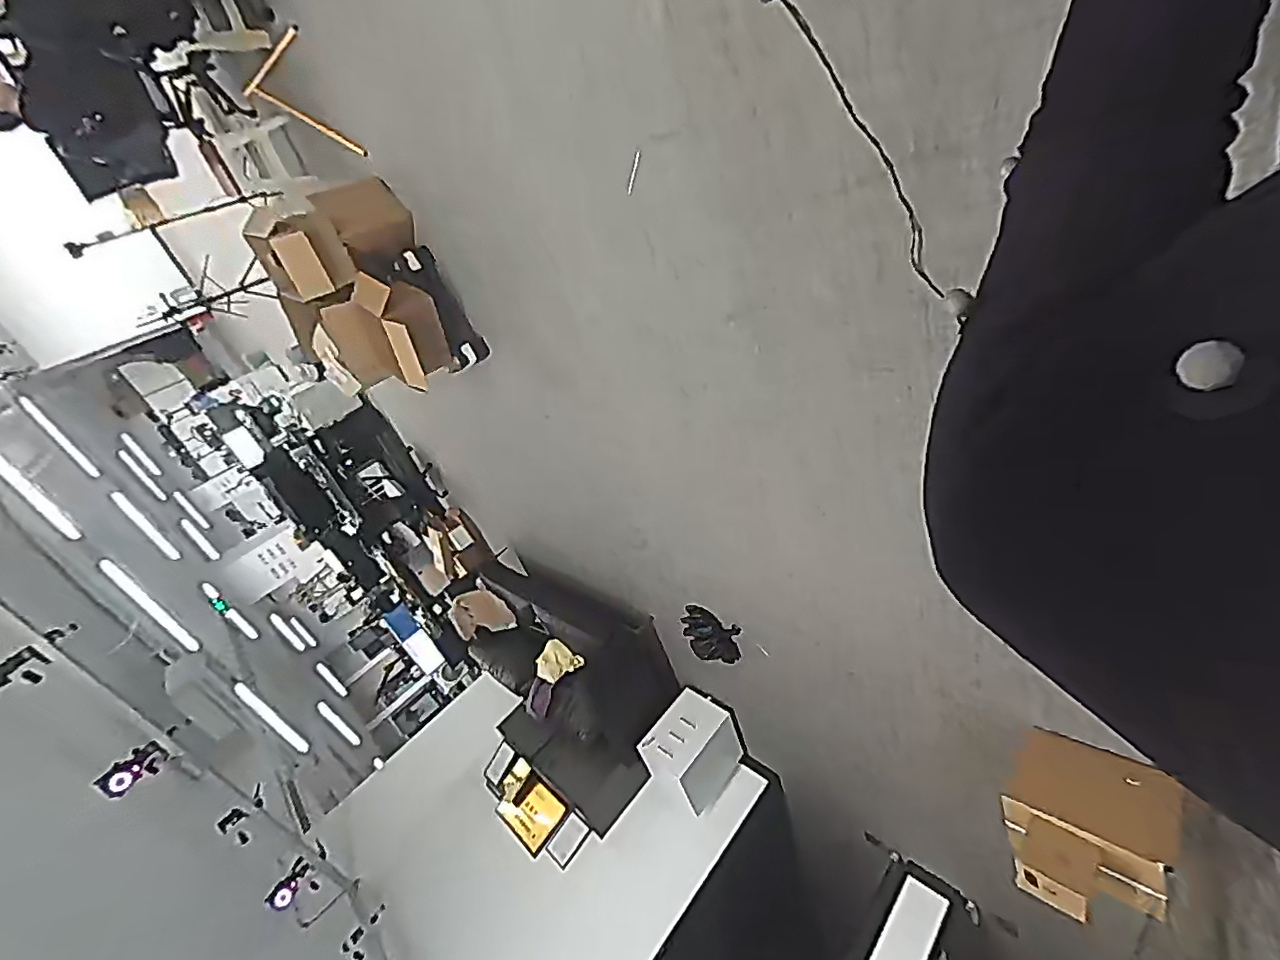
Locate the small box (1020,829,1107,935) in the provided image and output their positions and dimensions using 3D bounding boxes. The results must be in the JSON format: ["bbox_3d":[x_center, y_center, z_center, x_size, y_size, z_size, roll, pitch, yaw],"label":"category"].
[{"bbox_3d":[1.296,1.219,1.658,0.179,0.176,0.168,10,130,47],"label":"small box"}]
